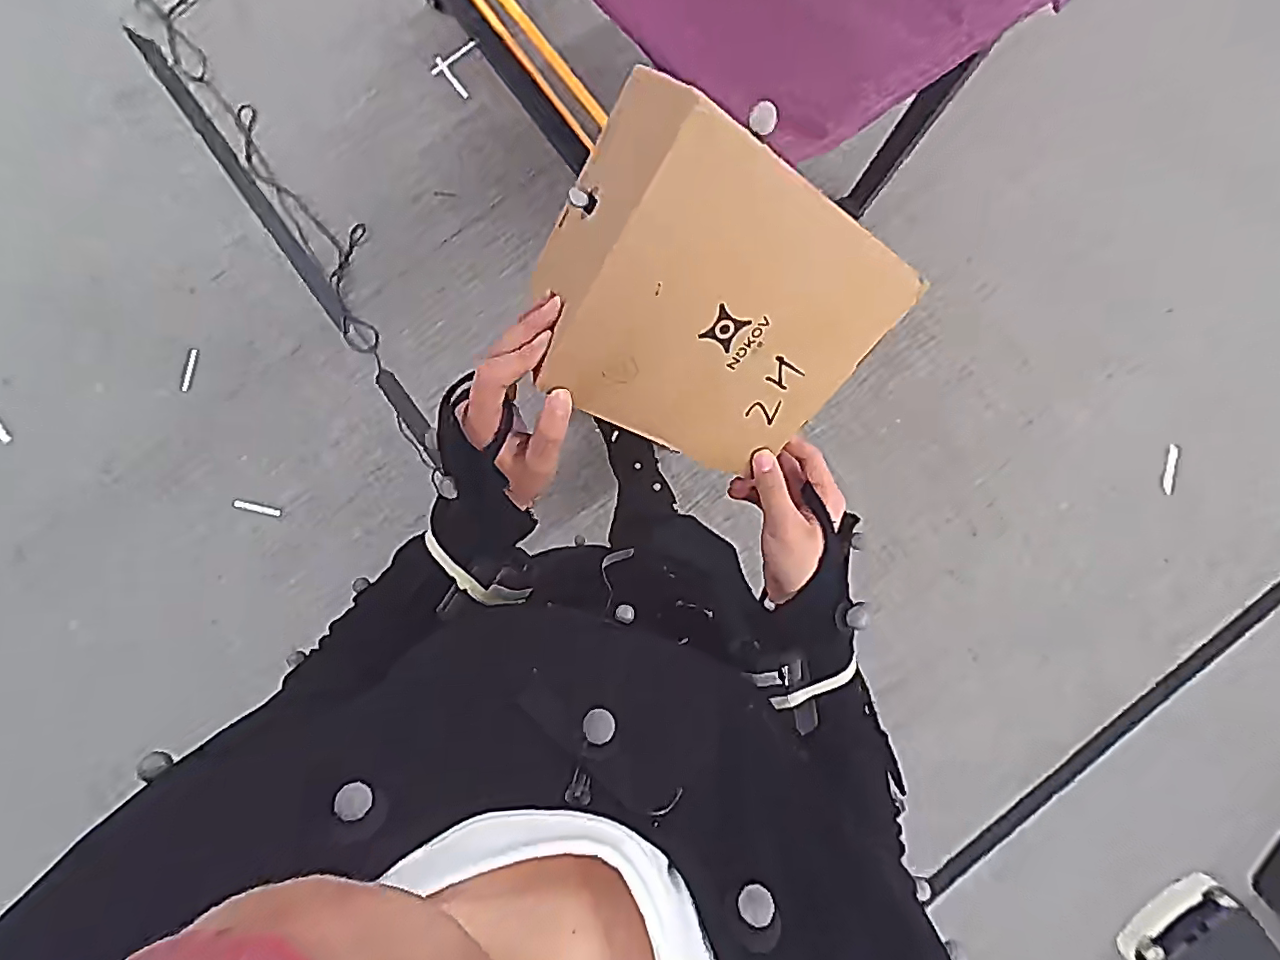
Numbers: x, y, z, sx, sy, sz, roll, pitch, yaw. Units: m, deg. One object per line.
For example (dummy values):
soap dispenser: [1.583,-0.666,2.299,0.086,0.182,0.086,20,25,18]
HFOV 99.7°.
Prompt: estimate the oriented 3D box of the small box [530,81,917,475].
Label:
small box: [0.035,-0.138,0.372,0.179,0.176,0.168,20,123,-28]

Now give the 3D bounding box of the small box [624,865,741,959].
small box: [0.078,0.920,1.079,0.168,0.176,0.179,-42,89,-3]
